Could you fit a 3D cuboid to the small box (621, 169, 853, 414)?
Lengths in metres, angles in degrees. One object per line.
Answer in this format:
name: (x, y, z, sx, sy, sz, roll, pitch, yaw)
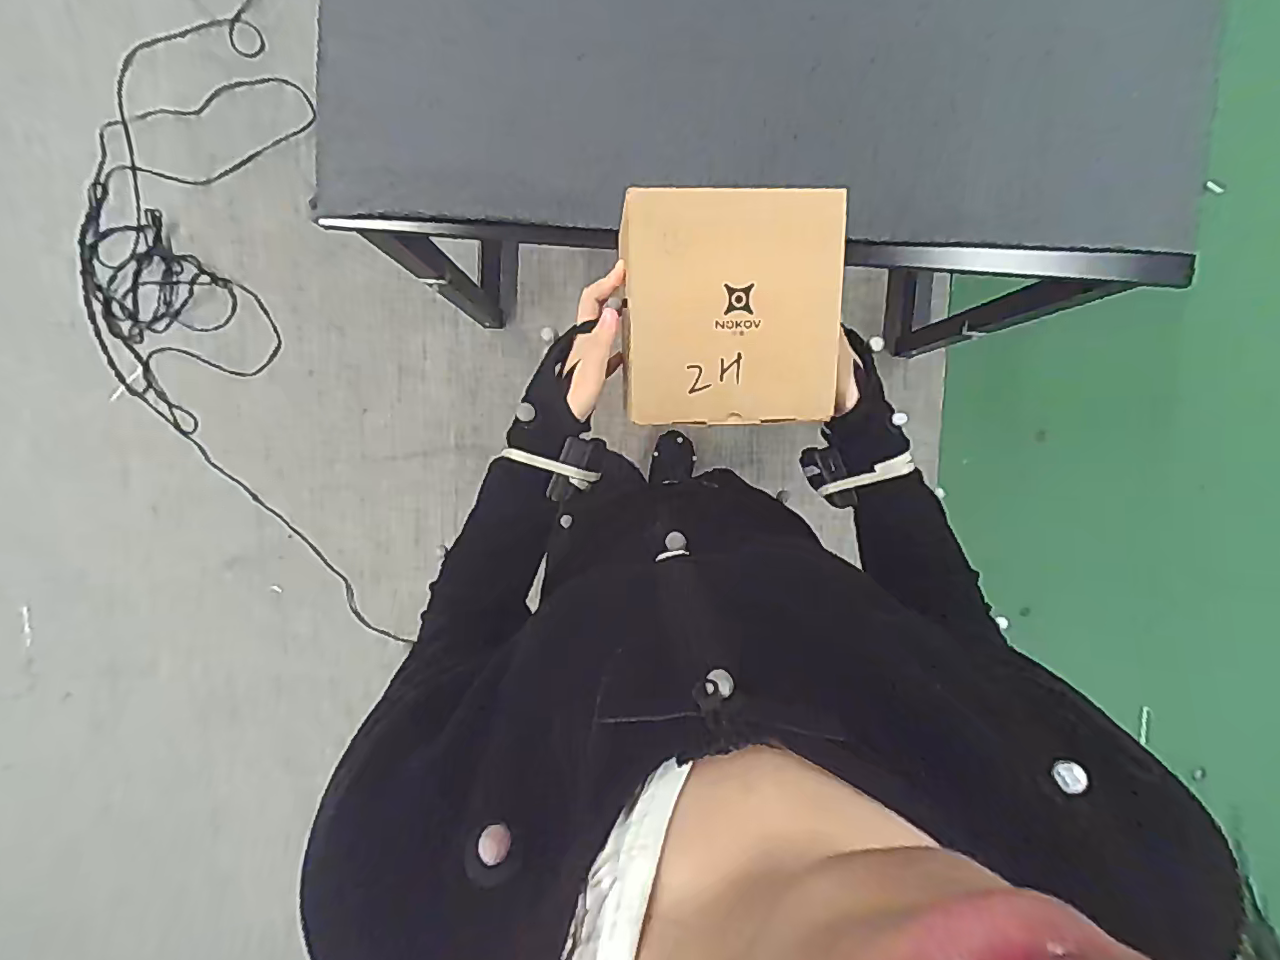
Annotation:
small box: (0.069, -0.153, 0.483, 0.168, 0.176, 0.179, -2, 102, -4)
